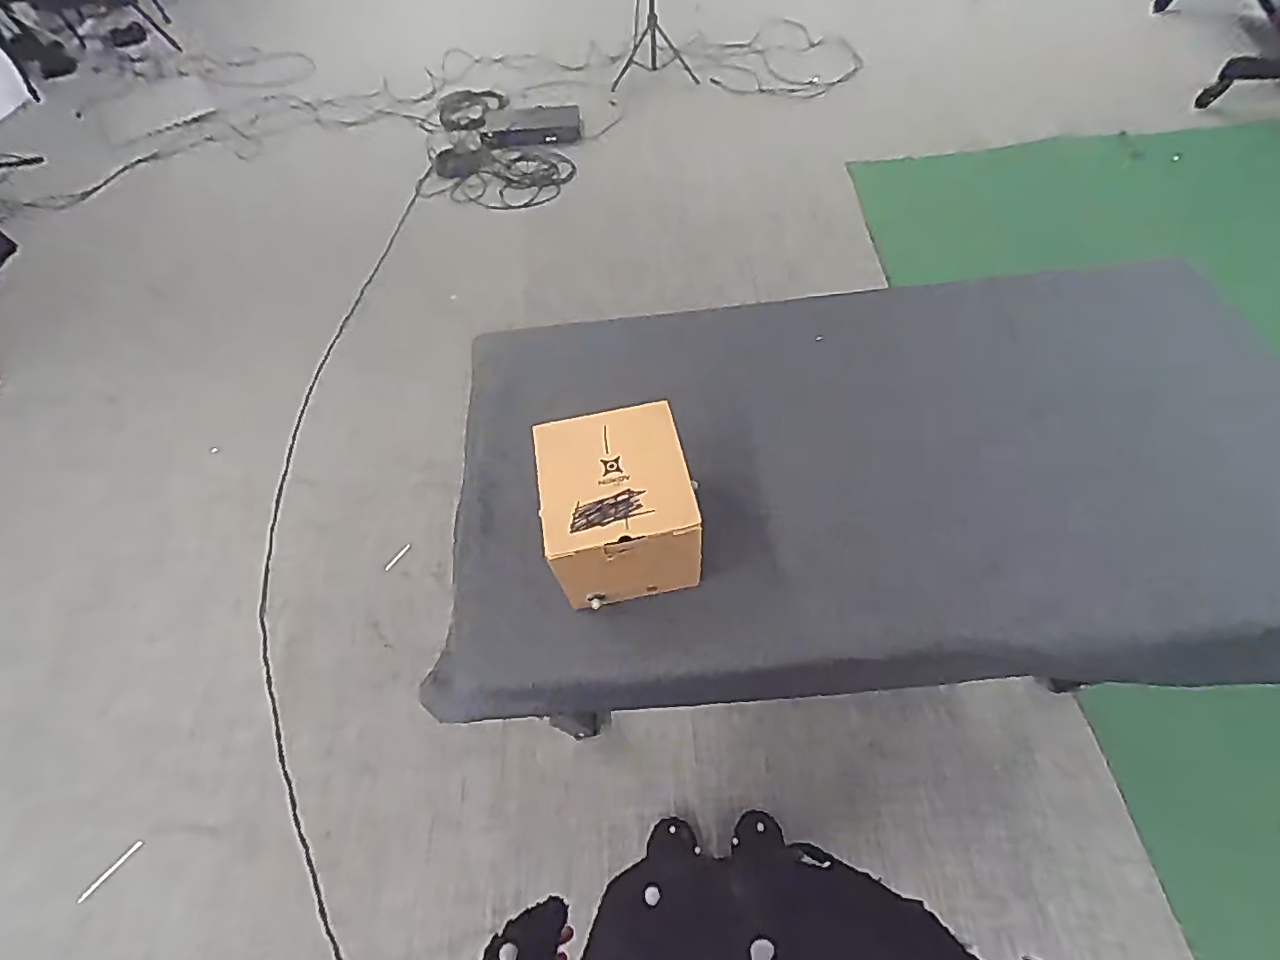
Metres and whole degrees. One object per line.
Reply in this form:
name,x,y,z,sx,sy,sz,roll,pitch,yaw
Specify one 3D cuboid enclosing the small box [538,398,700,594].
small box,-0.022,0.029,0.672,0.168,0.176,0.179,-11,58,-2
